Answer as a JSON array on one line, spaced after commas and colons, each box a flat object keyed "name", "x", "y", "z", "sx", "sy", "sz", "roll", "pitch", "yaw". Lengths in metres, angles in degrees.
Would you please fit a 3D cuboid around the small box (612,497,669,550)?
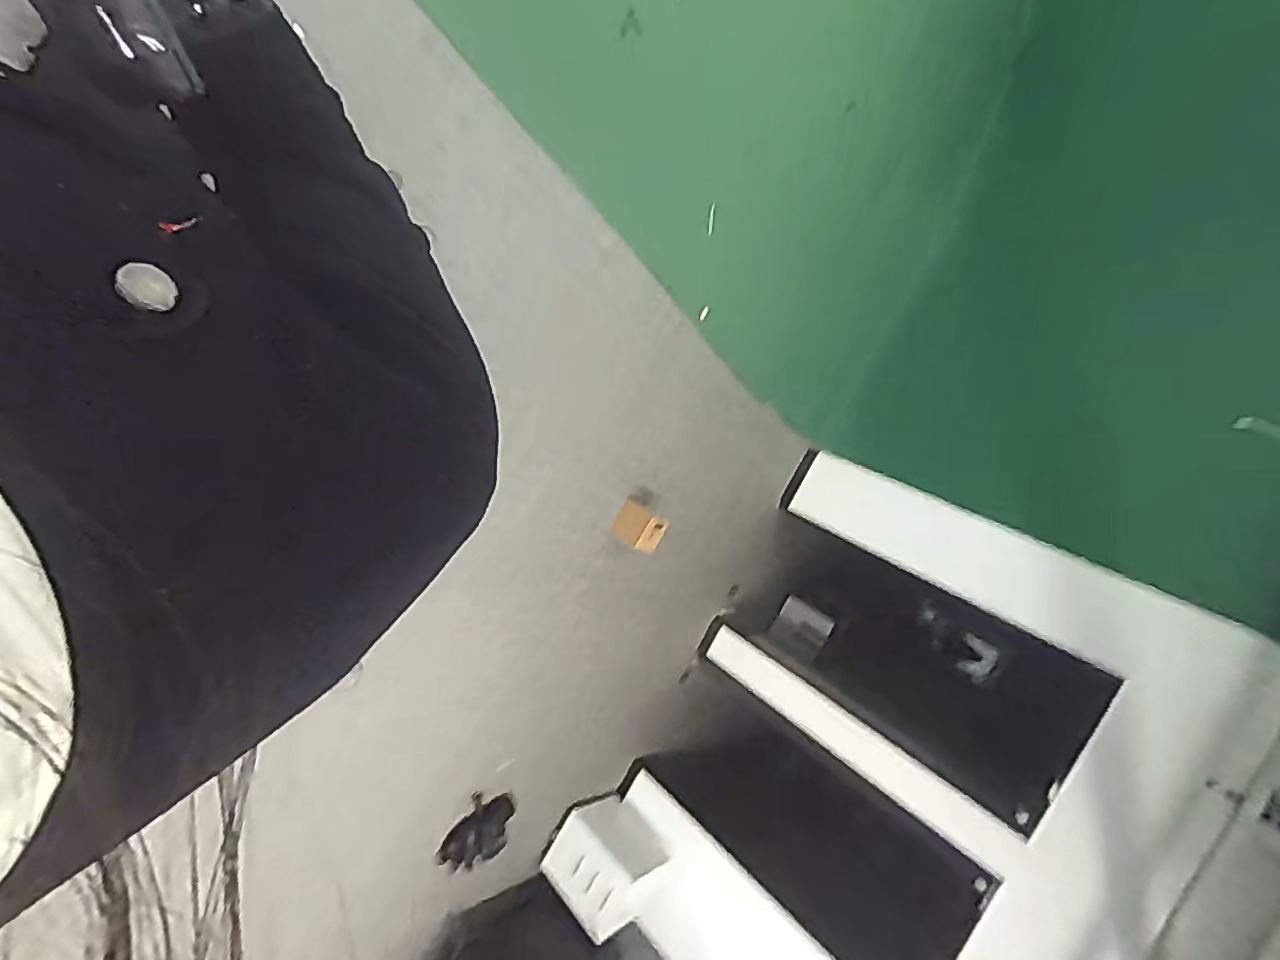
[{"name": "small box", "x": 0.000, "y": 0.201, "z": 2.532, "sx": 0.179, "sy": 0.176, "sz": 0.168, "roll": -59, "pitch": 145, "yaw": 1}]
